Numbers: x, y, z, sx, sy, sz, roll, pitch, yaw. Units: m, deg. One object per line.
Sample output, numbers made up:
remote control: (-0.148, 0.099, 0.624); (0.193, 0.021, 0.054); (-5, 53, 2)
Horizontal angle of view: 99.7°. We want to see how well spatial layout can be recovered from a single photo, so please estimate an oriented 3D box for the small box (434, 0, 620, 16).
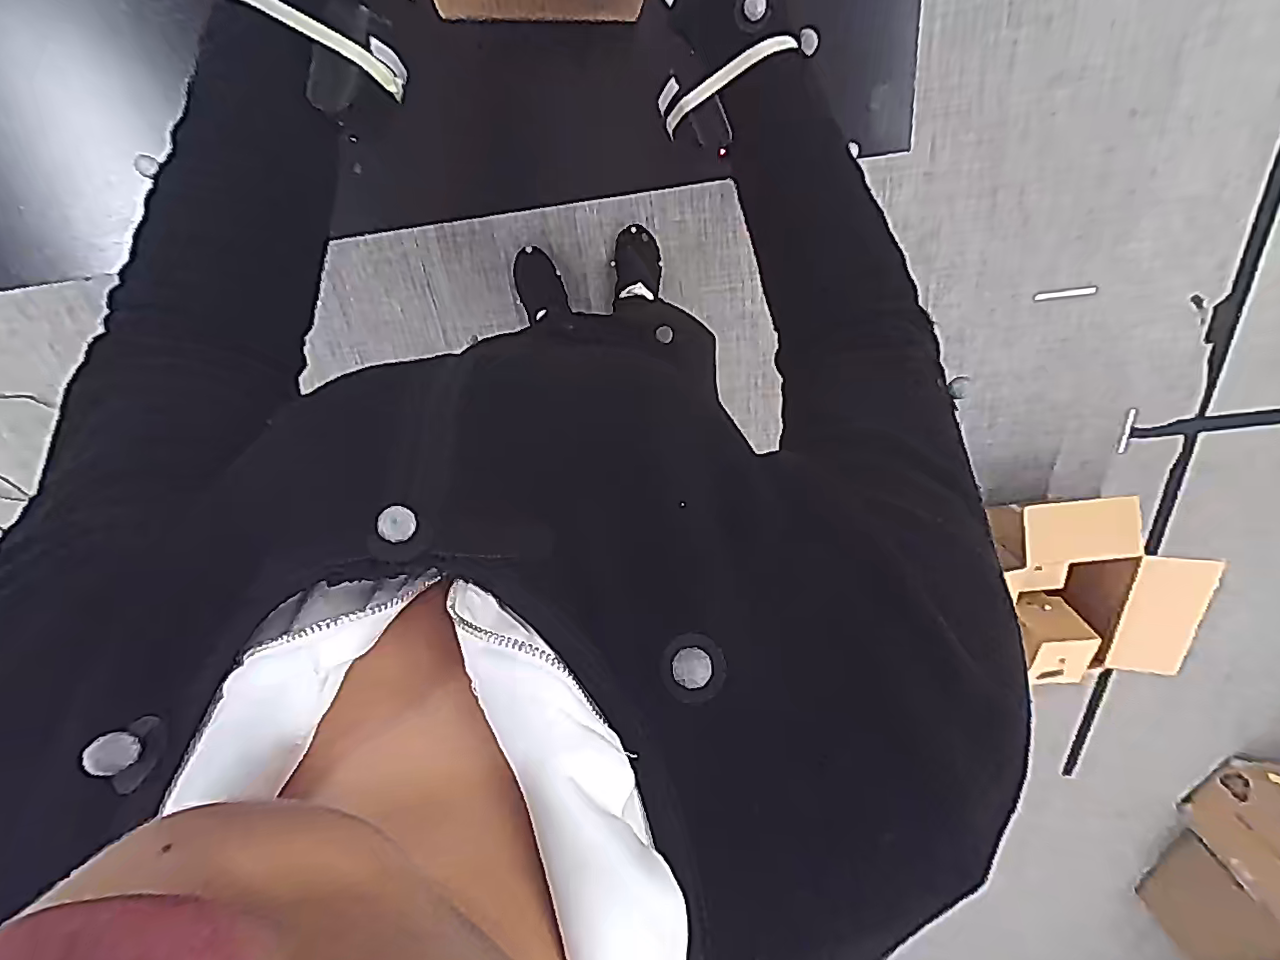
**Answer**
small box: (-0.083, -0.456, 0.372); (0.179, 0.176, 0.168); (-5, 111, -7)
